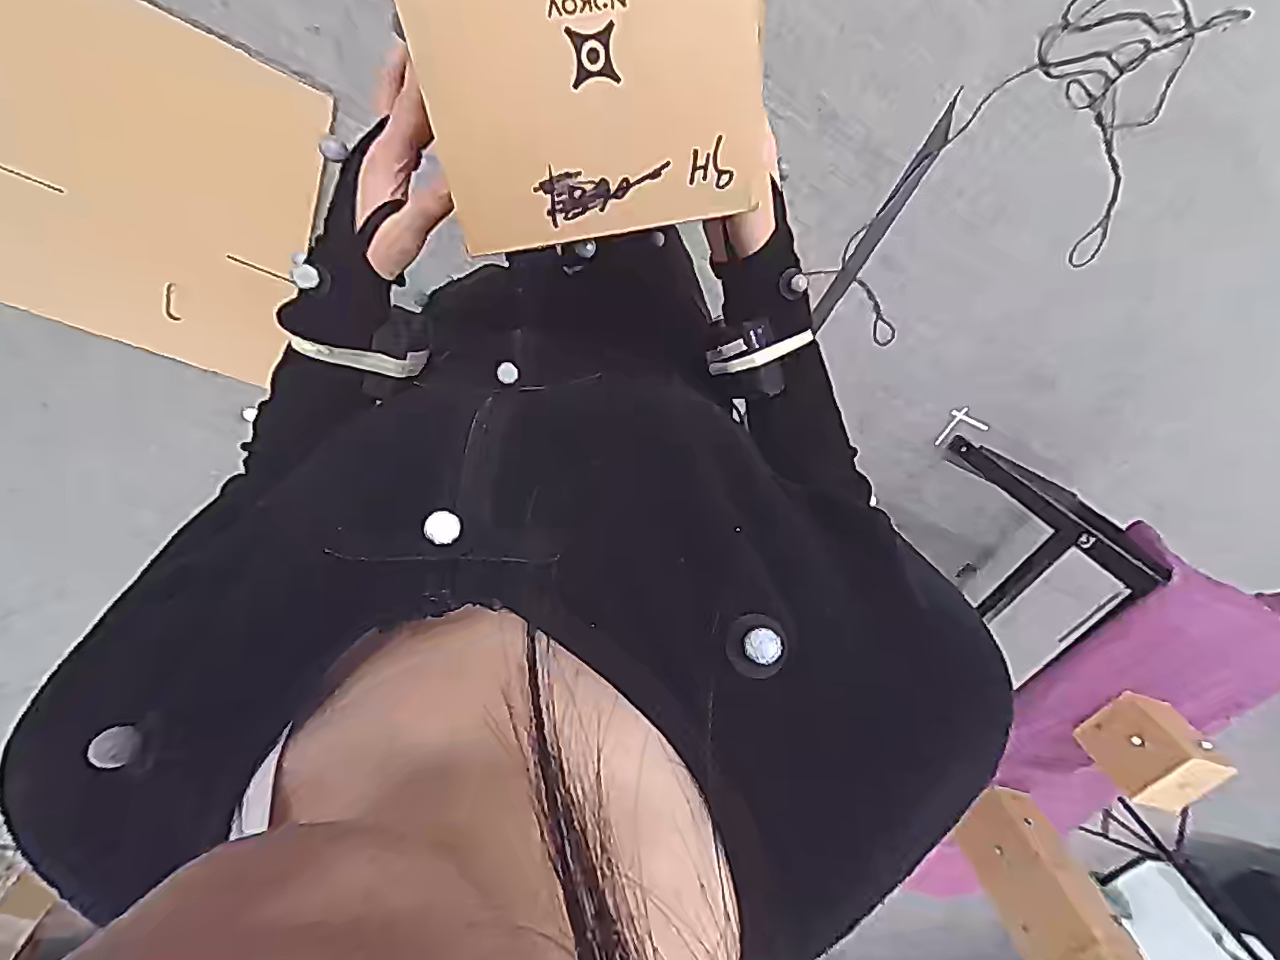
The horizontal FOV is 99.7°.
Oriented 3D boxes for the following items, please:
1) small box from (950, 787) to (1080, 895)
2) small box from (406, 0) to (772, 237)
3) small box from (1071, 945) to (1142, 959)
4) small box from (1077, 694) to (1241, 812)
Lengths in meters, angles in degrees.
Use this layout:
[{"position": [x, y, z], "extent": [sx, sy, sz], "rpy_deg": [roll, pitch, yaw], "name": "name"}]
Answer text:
[{"position": [0.944, 0.917, 1.379], "extent": [0.168, 0.176, 0.179], "rpy_deg": [23, 116, -19], "name": "small box"}, {"position": [-0.035, -0.256, 0.305], "extent": [0.168, 0.176, 0.179], "rpy_deg": [-12, 127, -4], "name": "small box"}, {"position": [0.974, 1.092, 1.101], "extent": [0.168, 0.176, 0.179], "rpy_deg": [23, 115, -20], "name": "small box"}, {"position": [1.160, 0.612, 1.225], "extent": [0.179, 0.176, 0.168], "rpy_deg": [20, 116, -19], "name": "small box"}]
